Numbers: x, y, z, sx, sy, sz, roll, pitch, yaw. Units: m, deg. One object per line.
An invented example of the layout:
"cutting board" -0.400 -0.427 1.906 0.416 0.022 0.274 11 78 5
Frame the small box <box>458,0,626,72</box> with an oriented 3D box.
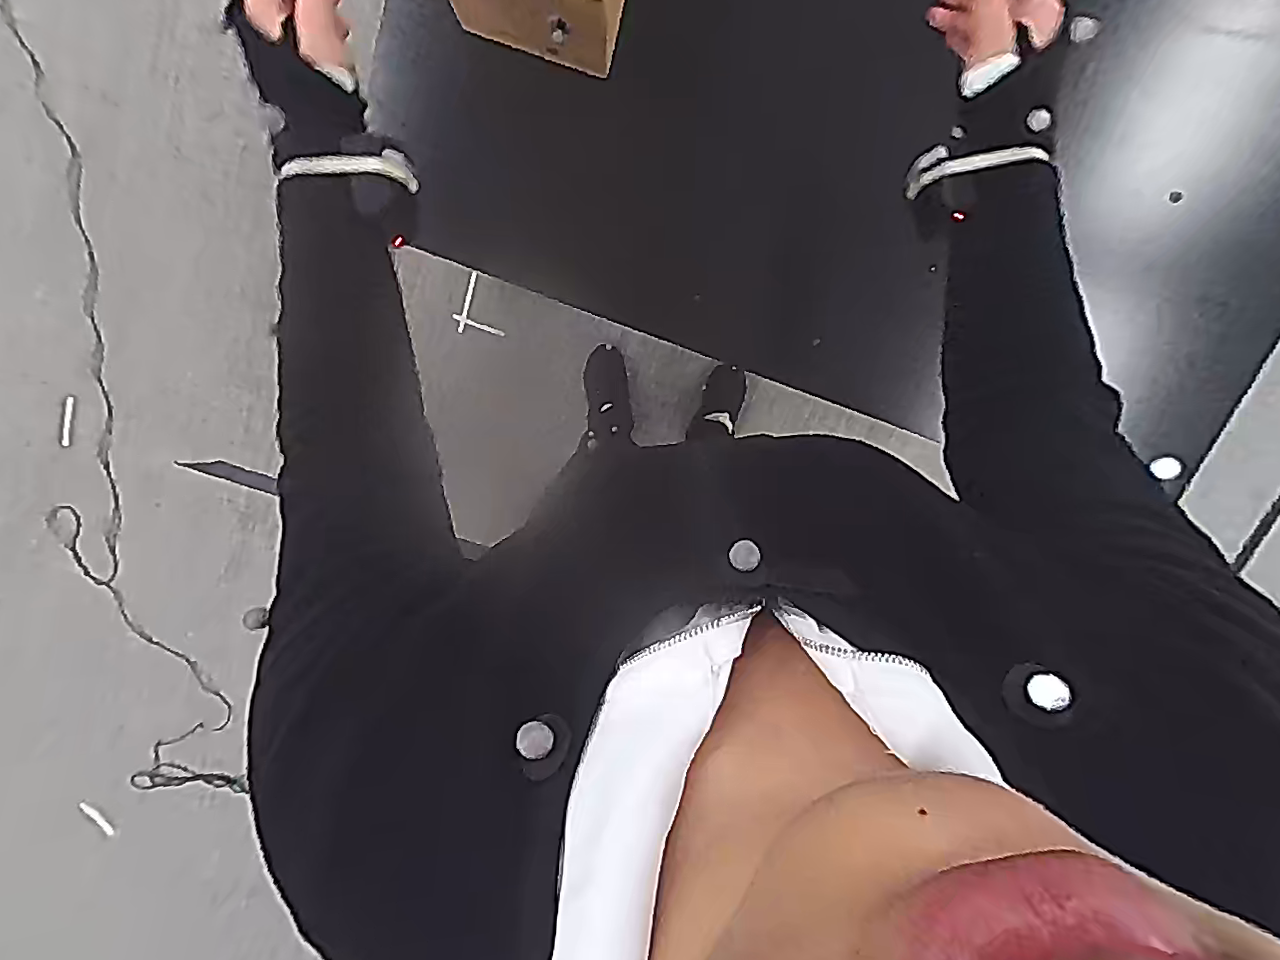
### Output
"small box" -0.085 -0.527 0.500 0.168 0.176 0.179 14 104 -9
